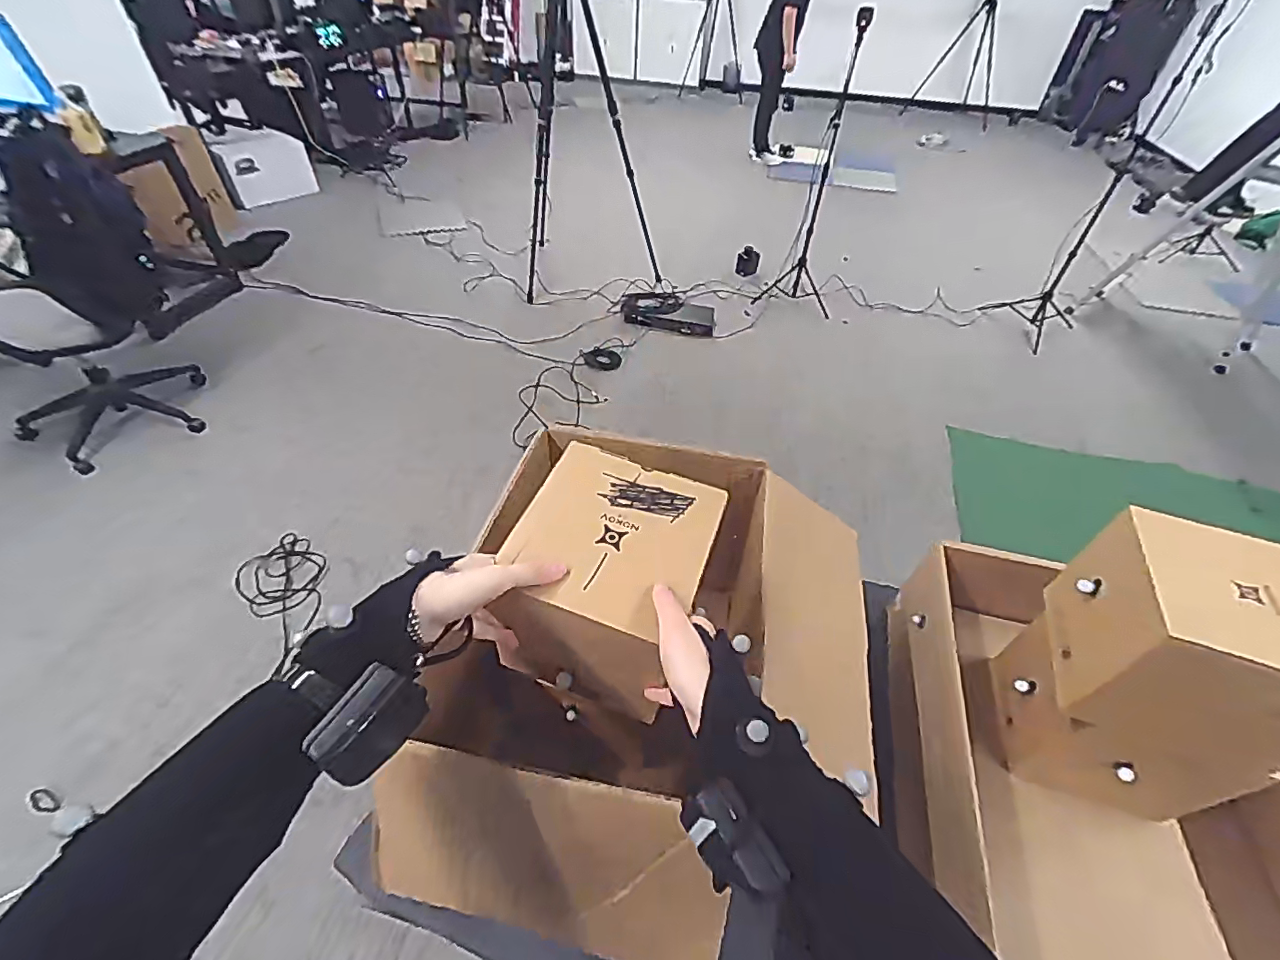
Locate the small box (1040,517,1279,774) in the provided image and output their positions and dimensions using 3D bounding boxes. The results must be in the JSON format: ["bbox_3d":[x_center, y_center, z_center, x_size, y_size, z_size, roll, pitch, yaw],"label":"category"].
[{"bbox_3d":[0.551,0.173,0.559,0.179,0.176,0.168,18,48,13],"label":"small box"}]

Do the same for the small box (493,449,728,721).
[{"bbox_3d":[-0.028,0.105,0.541,0.168,0.176,0.179,20,49,9],"label":"small box"}]
